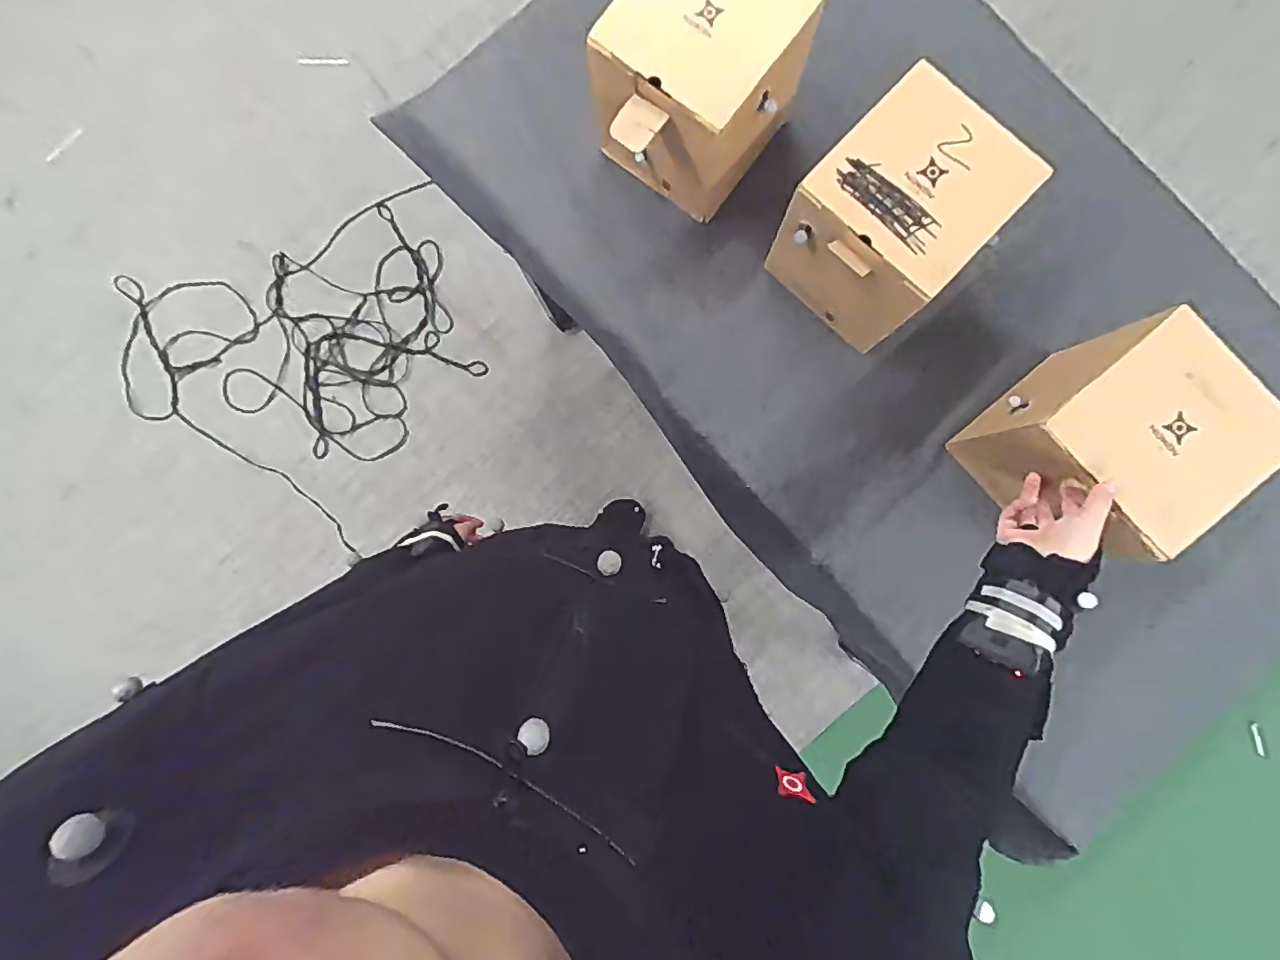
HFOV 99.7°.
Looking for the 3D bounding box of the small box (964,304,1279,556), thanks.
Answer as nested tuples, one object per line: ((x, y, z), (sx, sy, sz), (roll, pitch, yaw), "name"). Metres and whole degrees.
((0.483, -0.041, 0.566), (0.179, 0.176, 0.168), (-41, 87, -2), "small box")

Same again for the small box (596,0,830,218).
((0.070, -0.441, 0.601), (0.168, 0.176, 0.179), (37, 89, 3), "small box")
